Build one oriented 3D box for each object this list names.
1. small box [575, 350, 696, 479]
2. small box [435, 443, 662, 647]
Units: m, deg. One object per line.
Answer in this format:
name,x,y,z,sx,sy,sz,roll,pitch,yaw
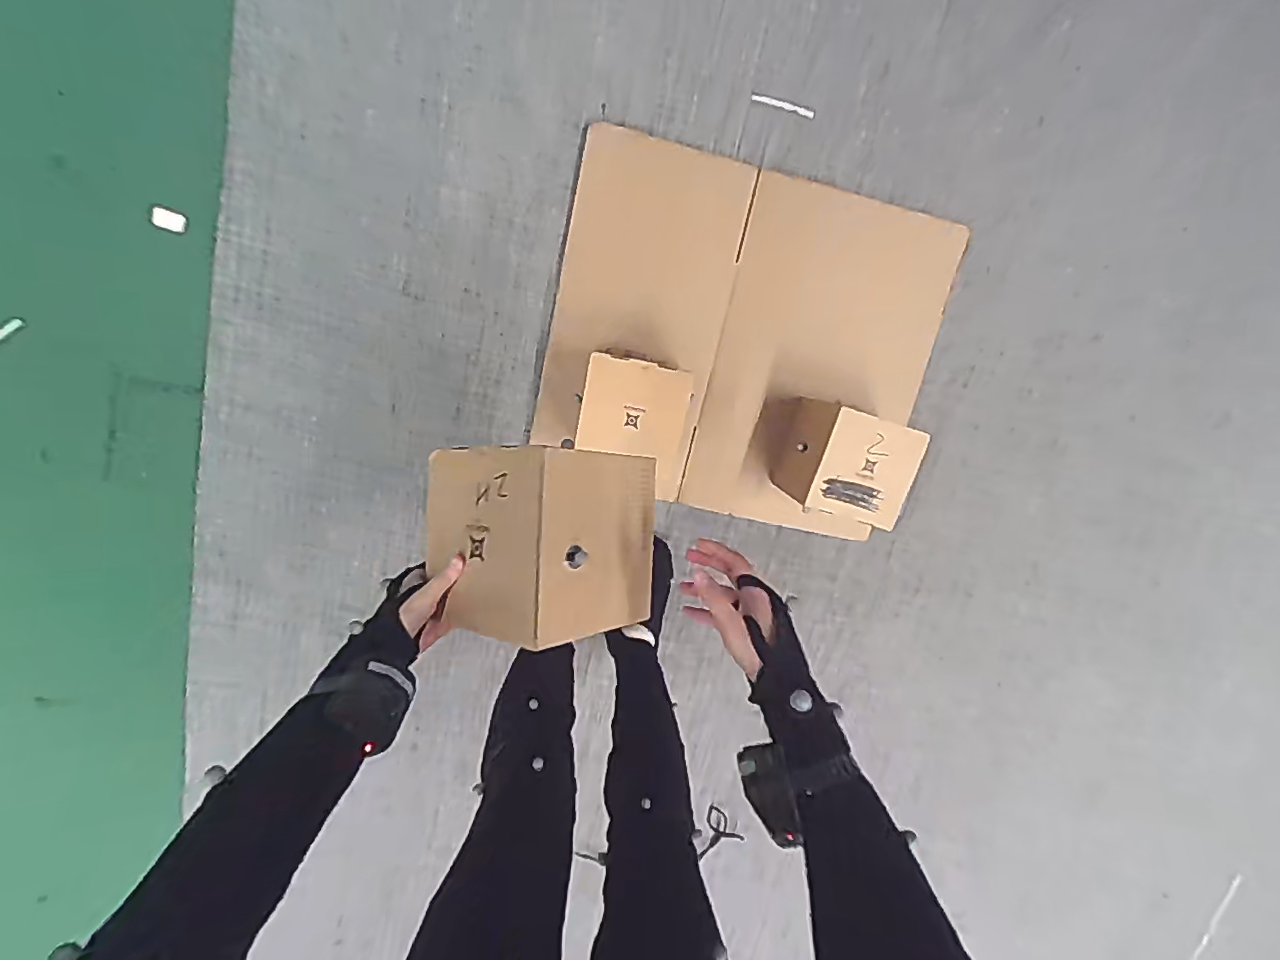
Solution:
small box,-0.013,-0.116,0.915,0.168,0.176,0.179,10,101,-6
small box,-0.090,0.055,0.566,0.168,0.176,0.179,2,88,36
